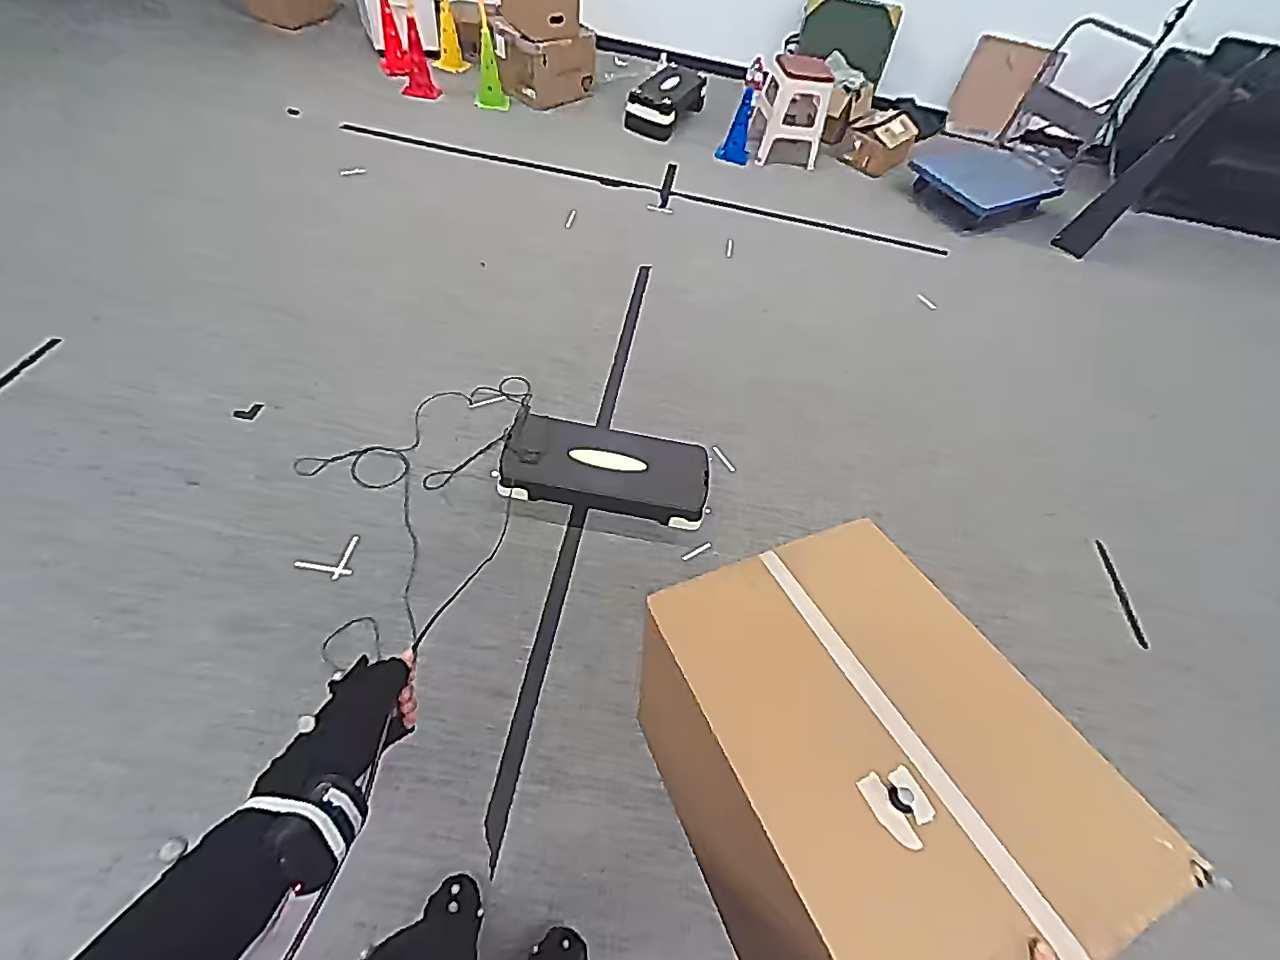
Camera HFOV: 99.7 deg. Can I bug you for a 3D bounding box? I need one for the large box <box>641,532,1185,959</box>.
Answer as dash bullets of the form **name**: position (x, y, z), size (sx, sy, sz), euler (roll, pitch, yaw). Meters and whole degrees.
- **large box**: position (0.224, 0.335, 0.624), size (0.320, 0.320, 0.408), euler (-16, 47, -18)
